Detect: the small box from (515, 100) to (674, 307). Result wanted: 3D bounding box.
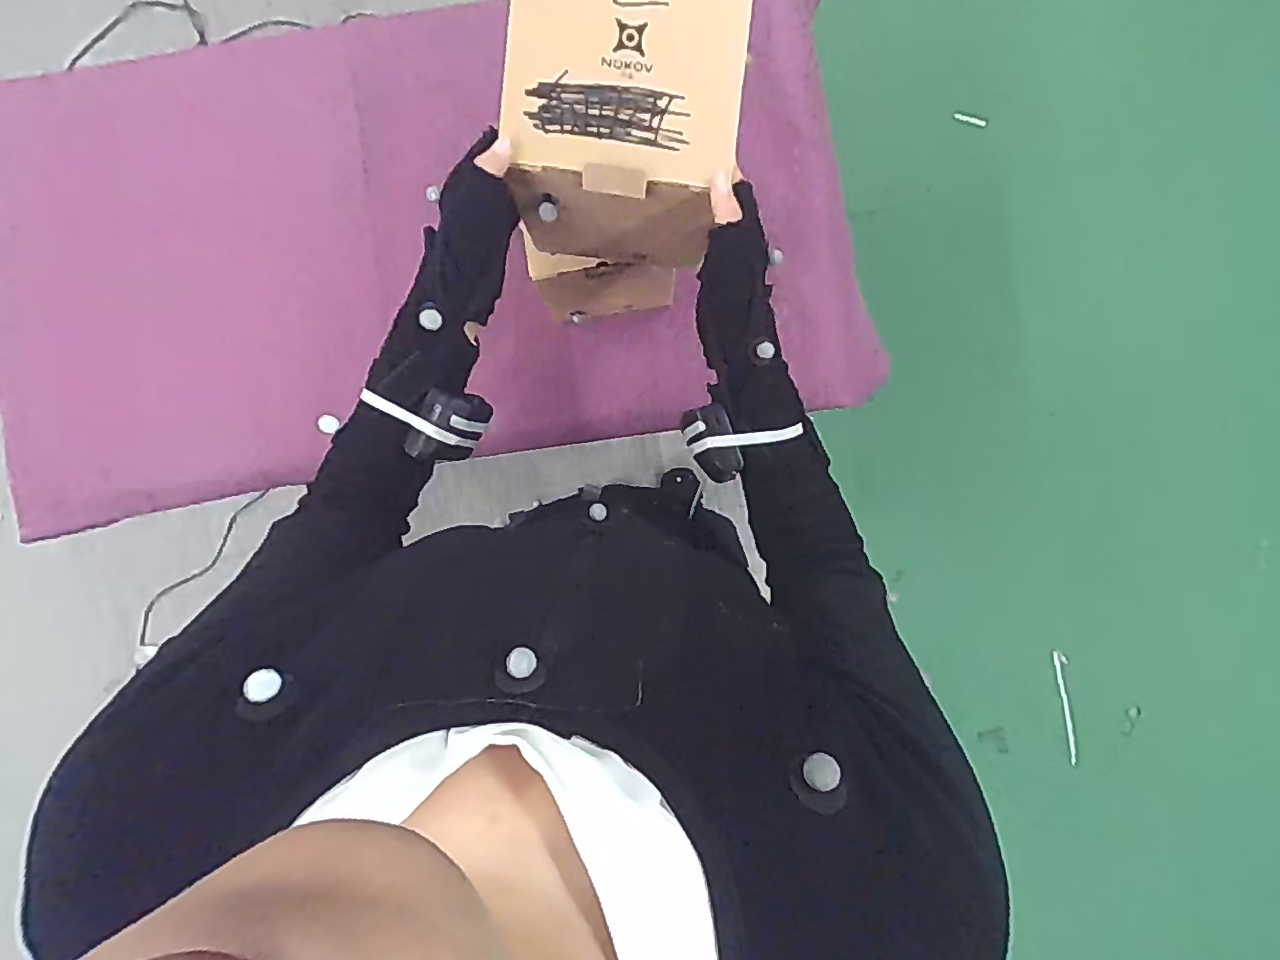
[{"bbox_3d":[-0.049,-0.321,0.666,0.168,0.176,0.179,-5,92,-1],"label":"small box"}]
